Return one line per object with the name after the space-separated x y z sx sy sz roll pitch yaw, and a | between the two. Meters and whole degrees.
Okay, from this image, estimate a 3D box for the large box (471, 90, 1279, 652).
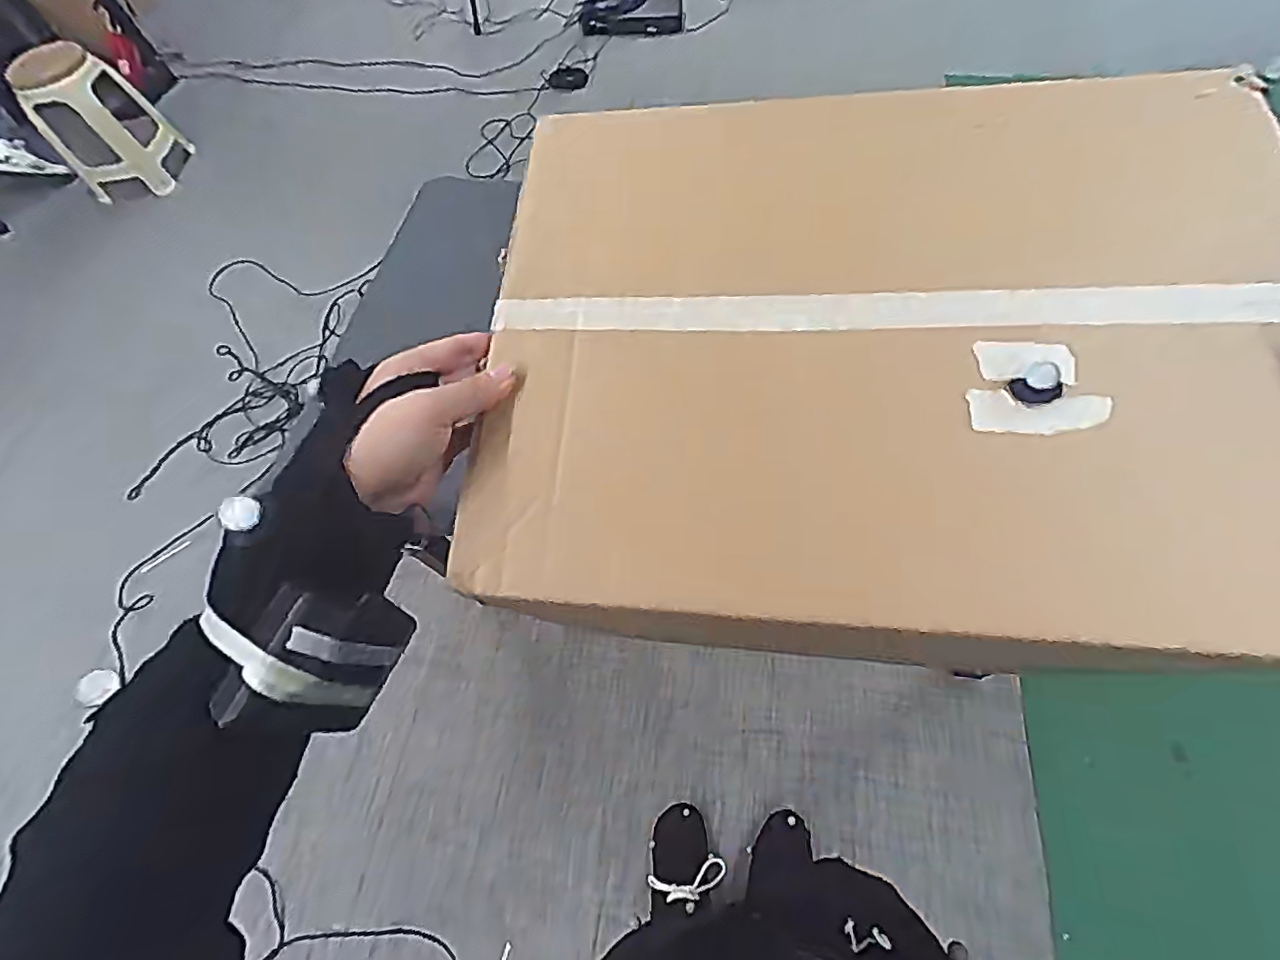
0.135 -0.040 0.433 0.408 0.320 0.320 2 71 8 | large box
